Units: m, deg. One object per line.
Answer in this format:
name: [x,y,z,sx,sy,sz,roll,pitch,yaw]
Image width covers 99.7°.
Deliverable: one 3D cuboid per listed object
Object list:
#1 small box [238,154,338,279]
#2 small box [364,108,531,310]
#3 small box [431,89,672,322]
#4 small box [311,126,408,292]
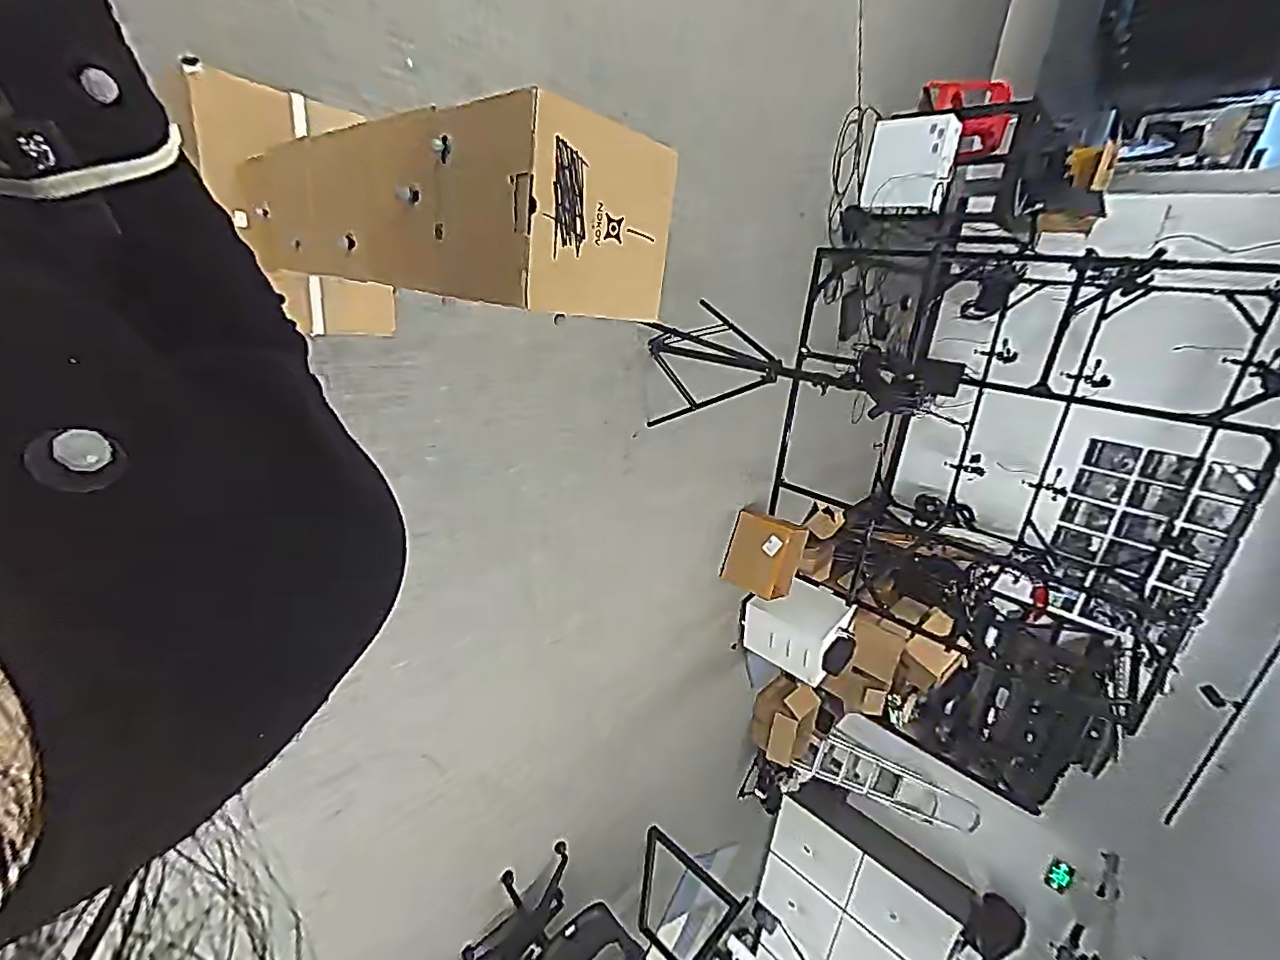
small box: [-0.577,-0.451,0.947,0.168,0.176,0.179,-17,121,-44]
small box: [-0.215,-0.309,0.649,0.168,0.176,0.179,-12,116,-46]
small box: [-0.094,-0.258,0.549,0.179,0.176,0.168,-12,116,-47]
small box: [-0.334,-0.357,0.747,0.168,0.176,0.179,-13,117,-47]
